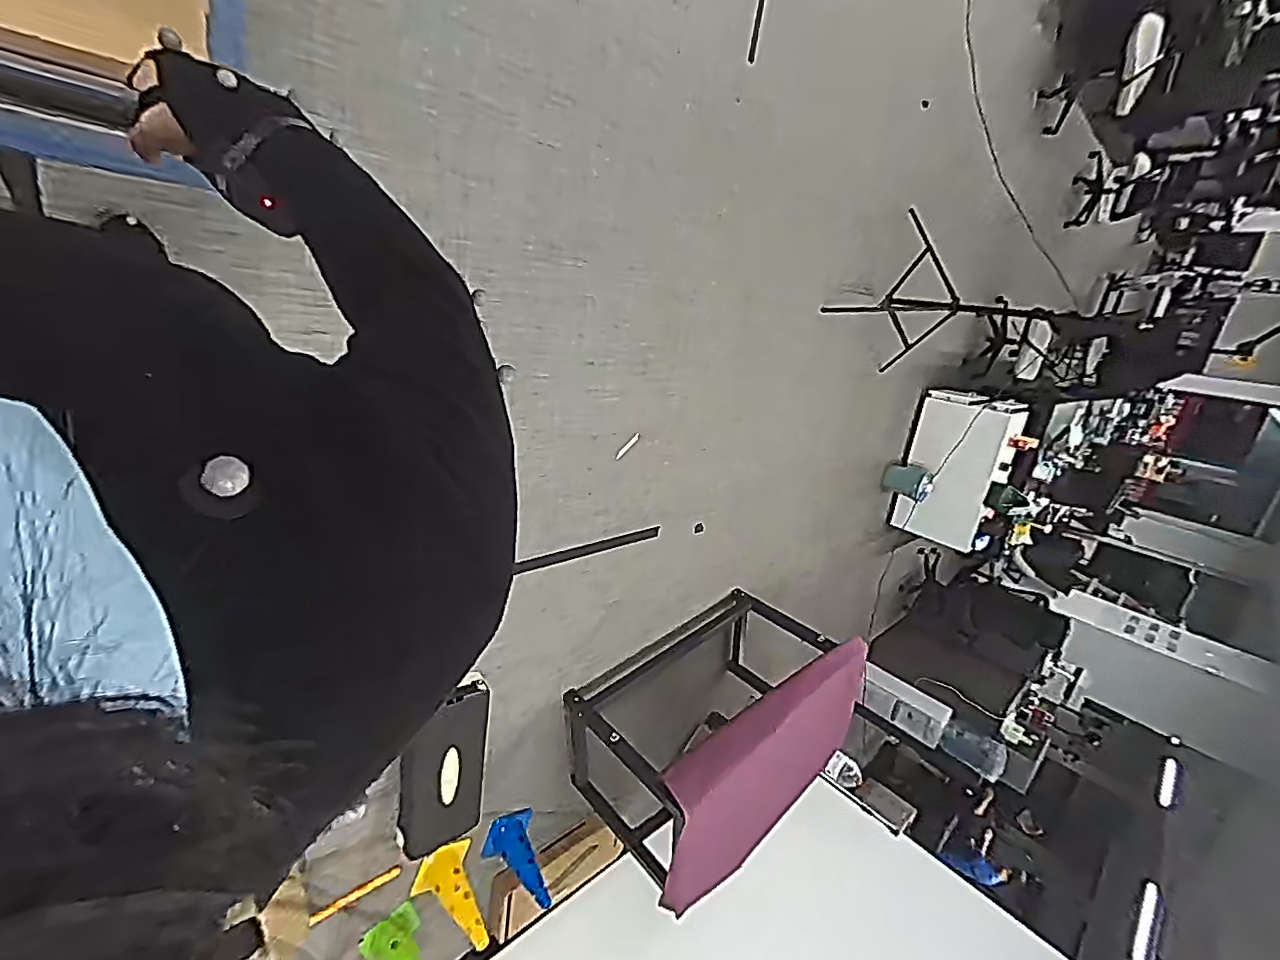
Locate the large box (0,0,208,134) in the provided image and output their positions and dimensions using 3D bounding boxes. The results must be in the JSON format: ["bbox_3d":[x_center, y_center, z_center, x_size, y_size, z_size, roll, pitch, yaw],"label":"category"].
[{"bbox_3d":[-0.815,-0.676,0.658,0.408,0.320,0.320,-8,113,-43],"label":"large box"}]
